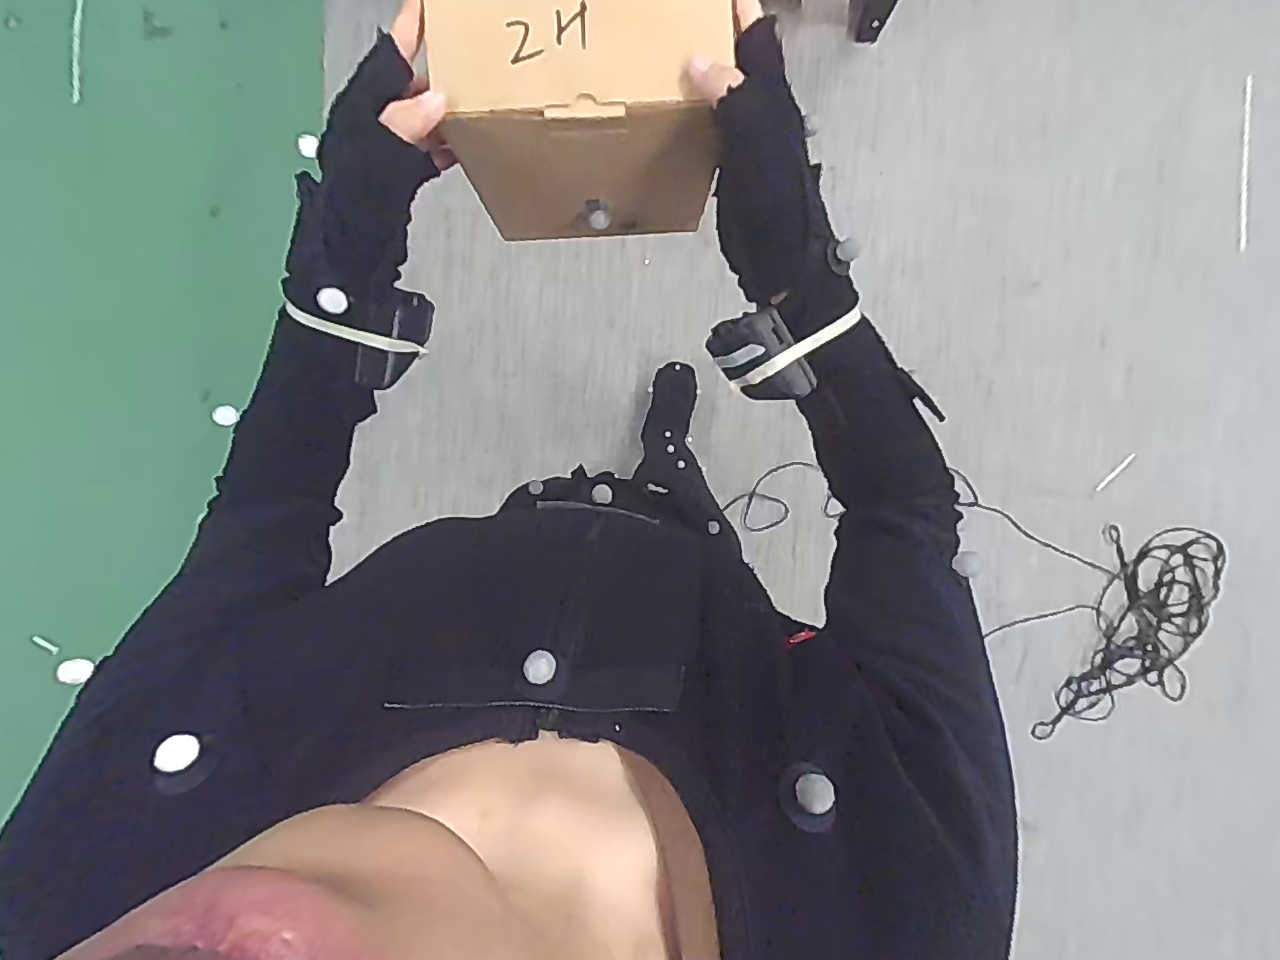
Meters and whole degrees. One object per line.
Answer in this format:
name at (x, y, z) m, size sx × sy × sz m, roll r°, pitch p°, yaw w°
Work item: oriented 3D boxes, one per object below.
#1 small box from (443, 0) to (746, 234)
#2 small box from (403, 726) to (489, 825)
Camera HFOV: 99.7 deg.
small box at (-0.028, -0.295, 0.373) m, size 0.168 × 0.176 × 0.179 m, roll -3°, pitch 91°, yaw -1°
small box at (-0.494, 0.750, 1.393) m, size 0.168 × 0.176 × 0.179 m, roll -2°, pitch 91°, yaw 0°
